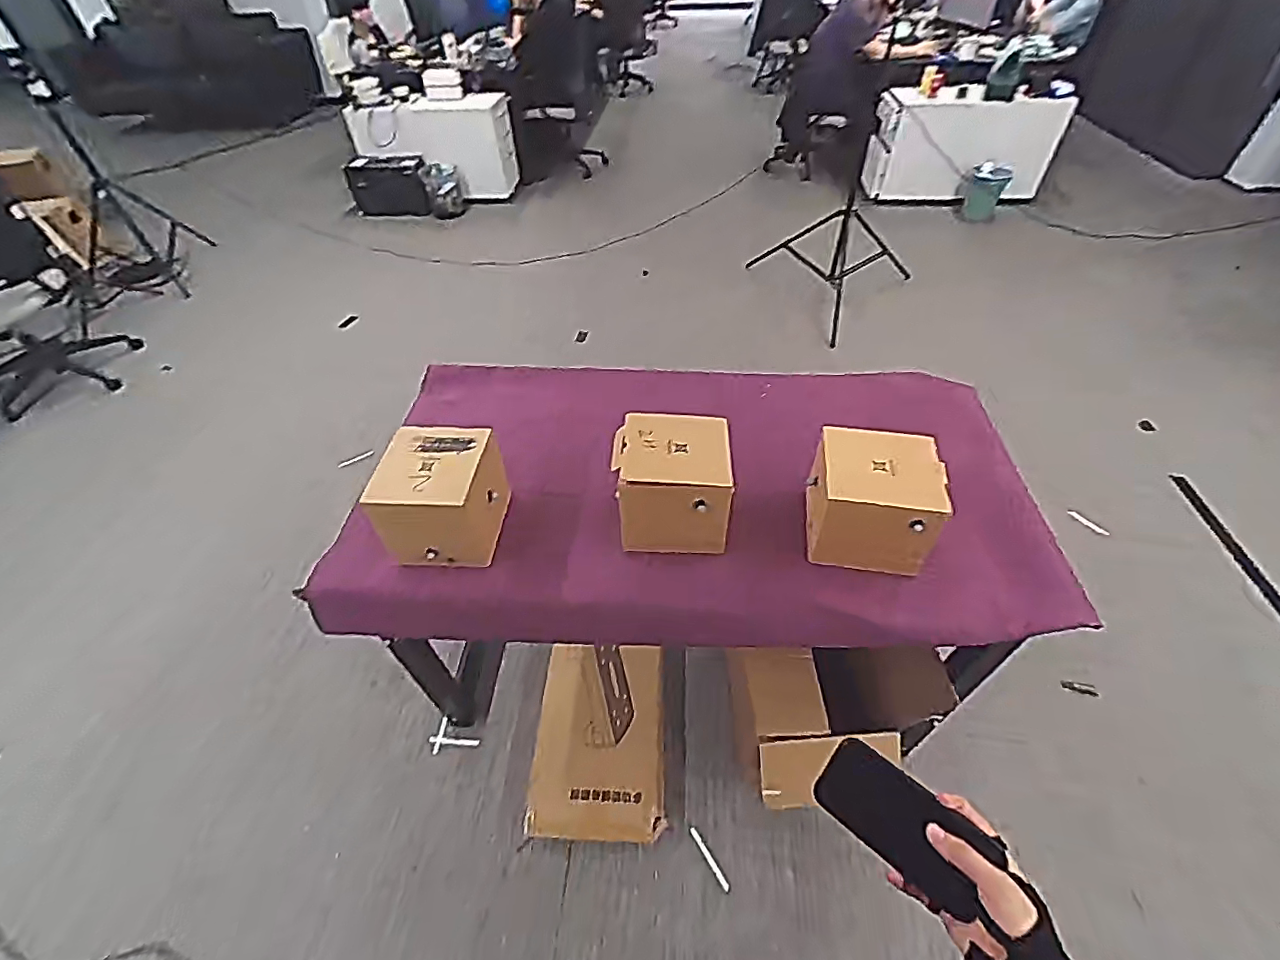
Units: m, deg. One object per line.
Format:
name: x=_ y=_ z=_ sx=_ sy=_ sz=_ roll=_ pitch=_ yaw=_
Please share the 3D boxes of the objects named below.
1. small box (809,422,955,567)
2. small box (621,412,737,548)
small box: x=0.380 y=0.026 z=0.889 sx=0.179 sy=0.176 sz=0.168 roll=6 pitch=48 yaw=8
small box: x=0.064 y=0.002 z=0.923 sx=0.179 sy=0.176 sz=0.168 roll=1 pitch=45 yaw=3
